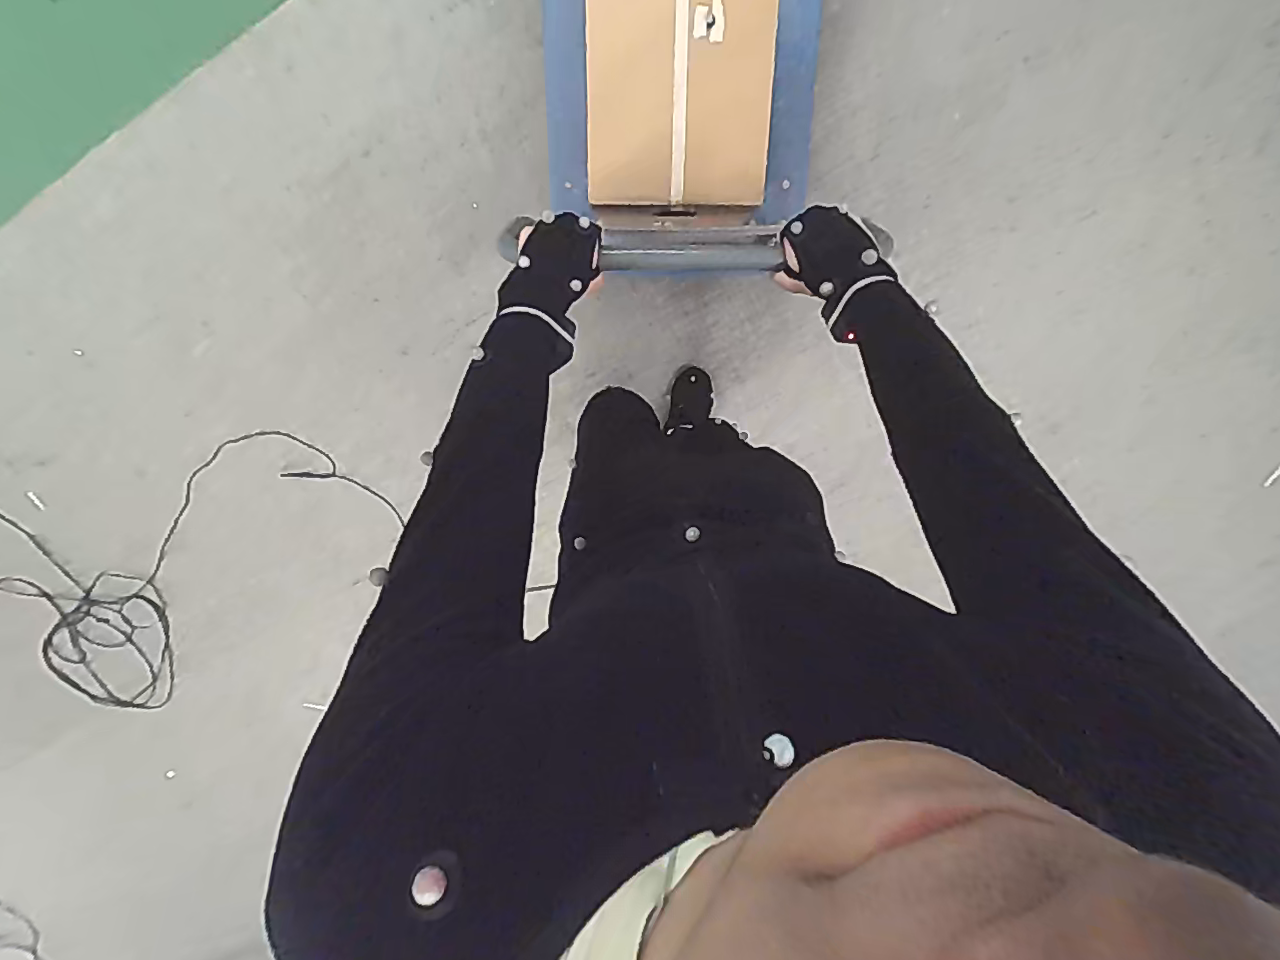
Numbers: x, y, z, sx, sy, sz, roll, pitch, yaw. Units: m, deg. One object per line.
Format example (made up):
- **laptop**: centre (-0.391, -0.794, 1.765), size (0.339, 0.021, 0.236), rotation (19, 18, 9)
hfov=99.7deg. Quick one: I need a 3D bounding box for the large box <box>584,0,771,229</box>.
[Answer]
- **large box**: centre (0.068, -0.733, 1.063), size (0.320, 0.320, 0.408), rotation (2, 107, 2)
